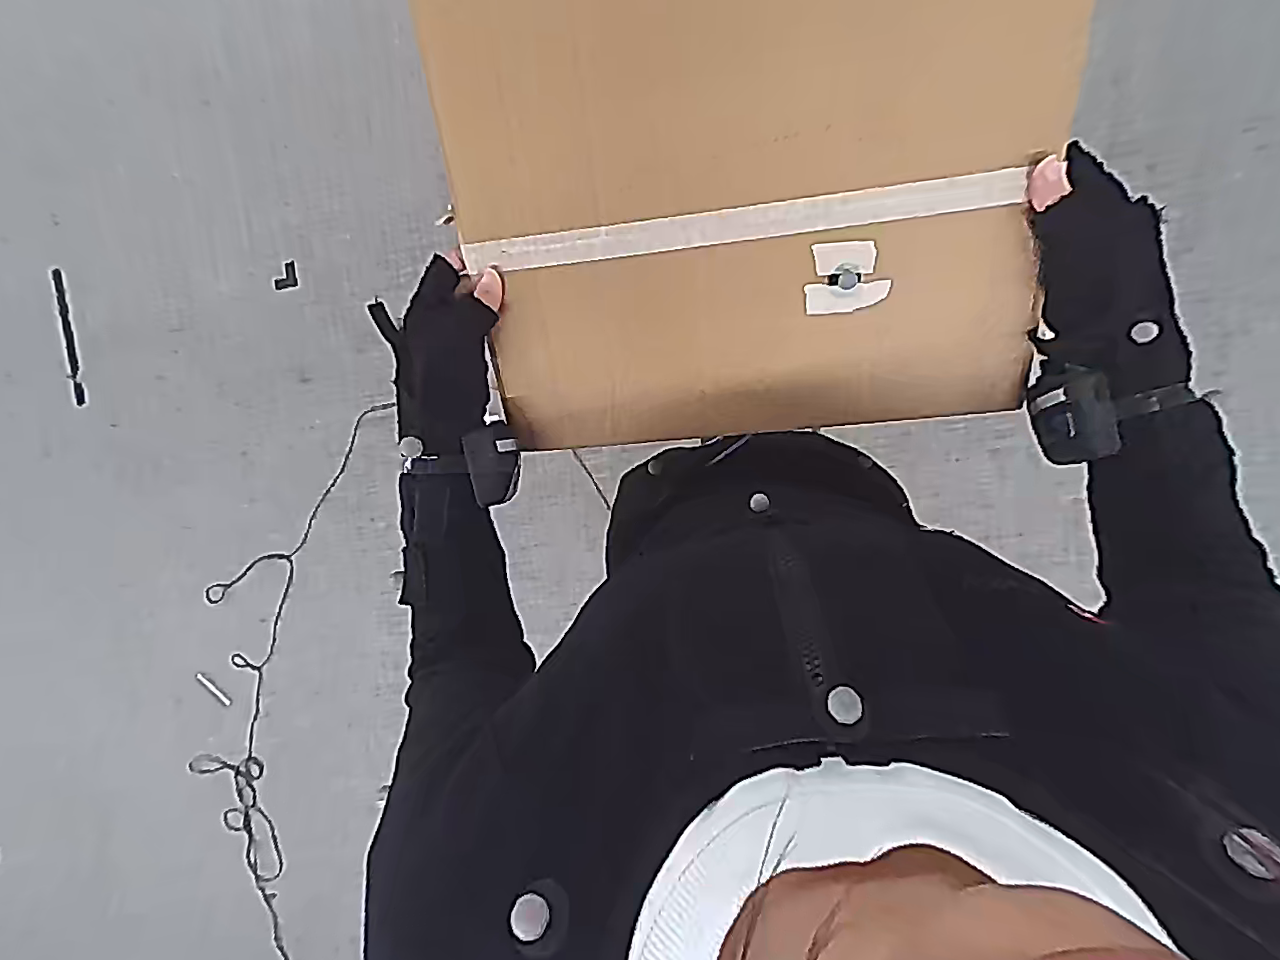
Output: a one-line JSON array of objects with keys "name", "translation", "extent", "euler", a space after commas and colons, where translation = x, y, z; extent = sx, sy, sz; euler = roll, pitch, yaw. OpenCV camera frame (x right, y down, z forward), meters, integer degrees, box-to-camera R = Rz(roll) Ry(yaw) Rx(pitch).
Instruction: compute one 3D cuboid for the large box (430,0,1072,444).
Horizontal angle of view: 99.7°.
[{"name": "large box", "translation": [0.086, -0.250, 0.521], "extent": [0.408, 0.320, 0.320], "euler": [-6, 115, 6]}]
